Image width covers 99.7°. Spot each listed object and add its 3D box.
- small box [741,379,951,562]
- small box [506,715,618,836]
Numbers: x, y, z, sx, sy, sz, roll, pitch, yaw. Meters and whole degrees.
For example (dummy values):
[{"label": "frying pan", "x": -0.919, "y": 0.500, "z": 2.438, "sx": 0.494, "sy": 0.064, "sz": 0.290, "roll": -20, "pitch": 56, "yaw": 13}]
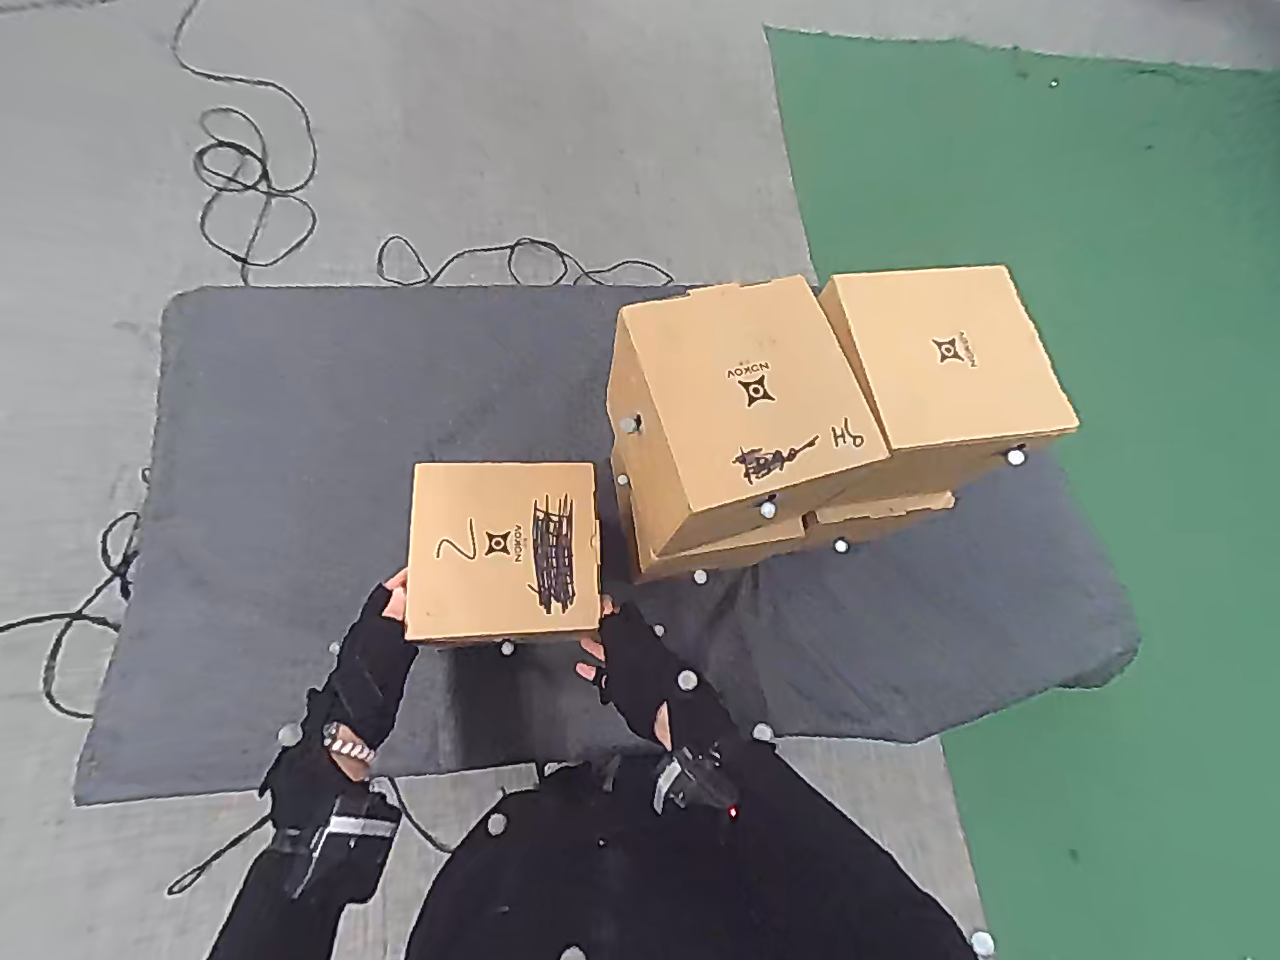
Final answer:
[{"label": "small box", "x": 0.240, "y": -0.006, "z": 0.681, "sx": 0.168, "sy": 0.176, "sz": 0.179, "roll": -6, "pitch": 71, "yaw": -9}, {"label": "small box", "x": -0.172, "y": 0.638, "z": 1.187, "sx": 0.179, "sy": 0.176, "sz": 0.168, "roll": 18, "pitch": 78, "yaw": 18}]
